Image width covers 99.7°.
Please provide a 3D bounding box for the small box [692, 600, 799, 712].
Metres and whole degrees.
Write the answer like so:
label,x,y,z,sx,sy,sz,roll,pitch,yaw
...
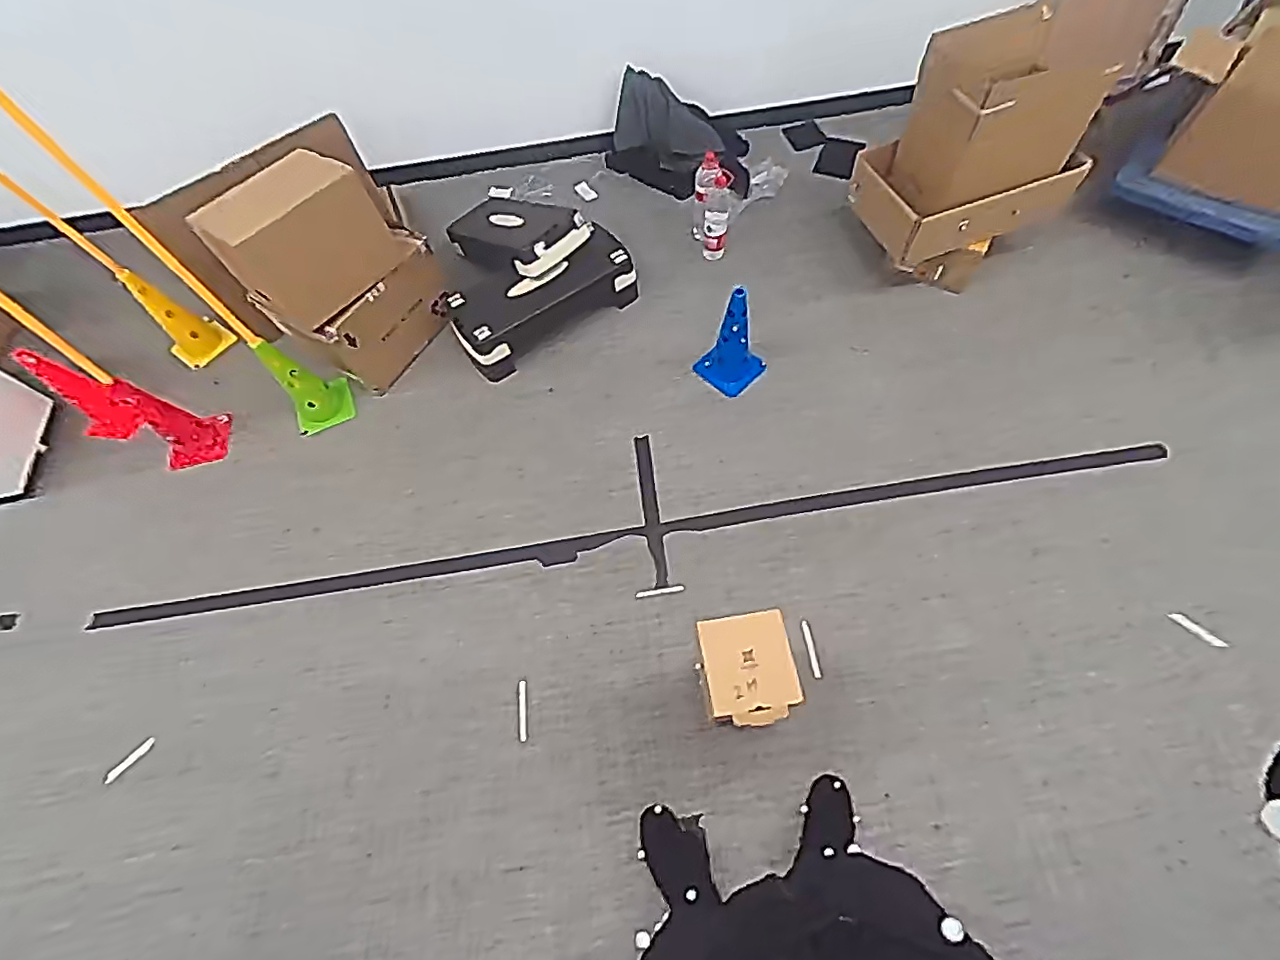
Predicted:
label,x,y,z,sx,sy,sz,roll,pitch,yaw
small box,0.200,0.357,1.084,0.168,0.176,0.179,-9,64,-1
